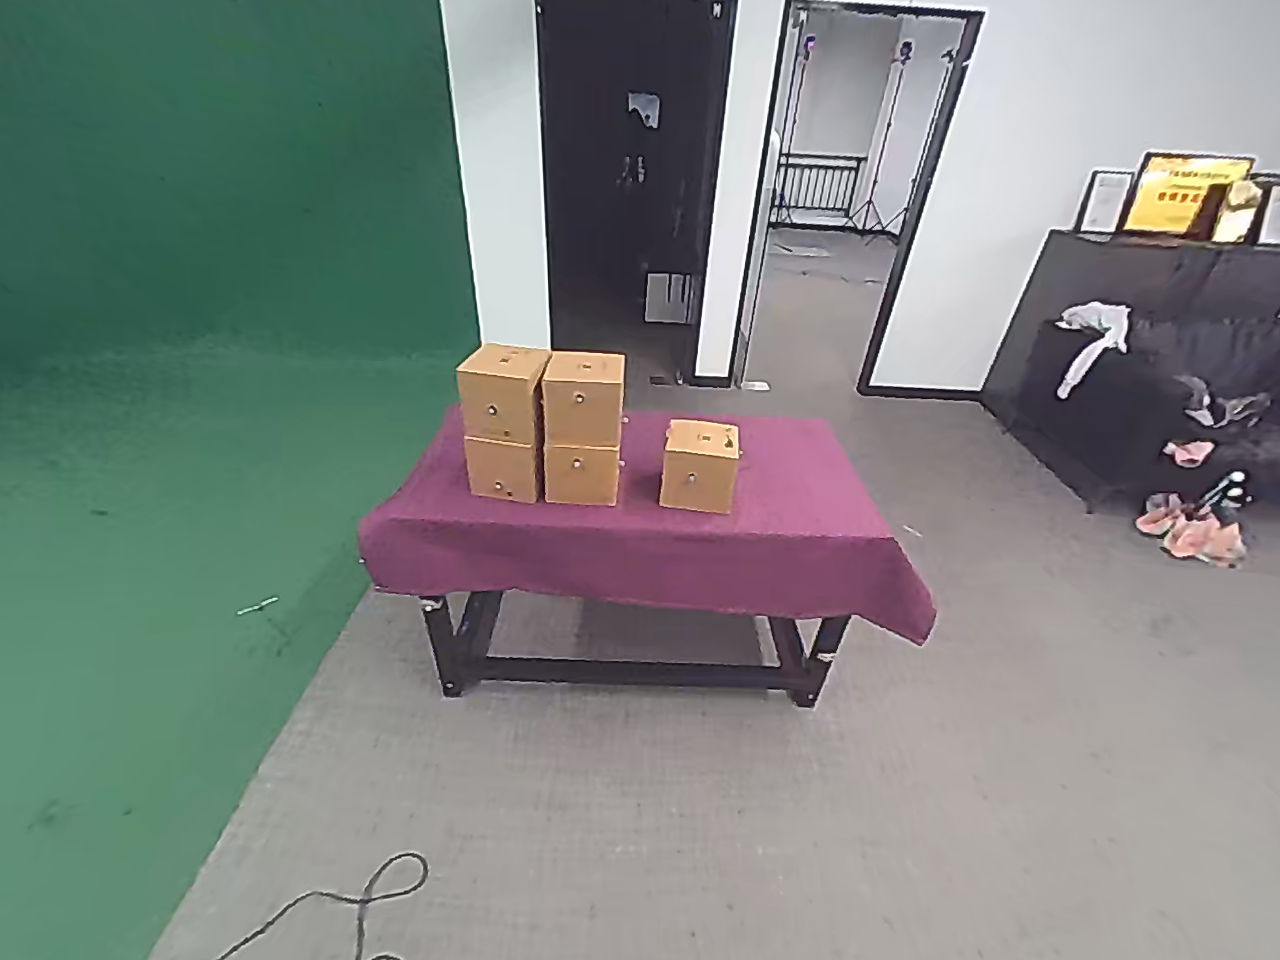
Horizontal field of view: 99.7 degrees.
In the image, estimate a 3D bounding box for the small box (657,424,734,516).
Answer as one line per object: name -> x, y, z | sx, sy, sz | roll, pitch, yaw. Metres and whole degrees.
small box -> 0.139, -0.025, 1.369 | 0.179, 0.176, 0.168 | 7, 34, 5
